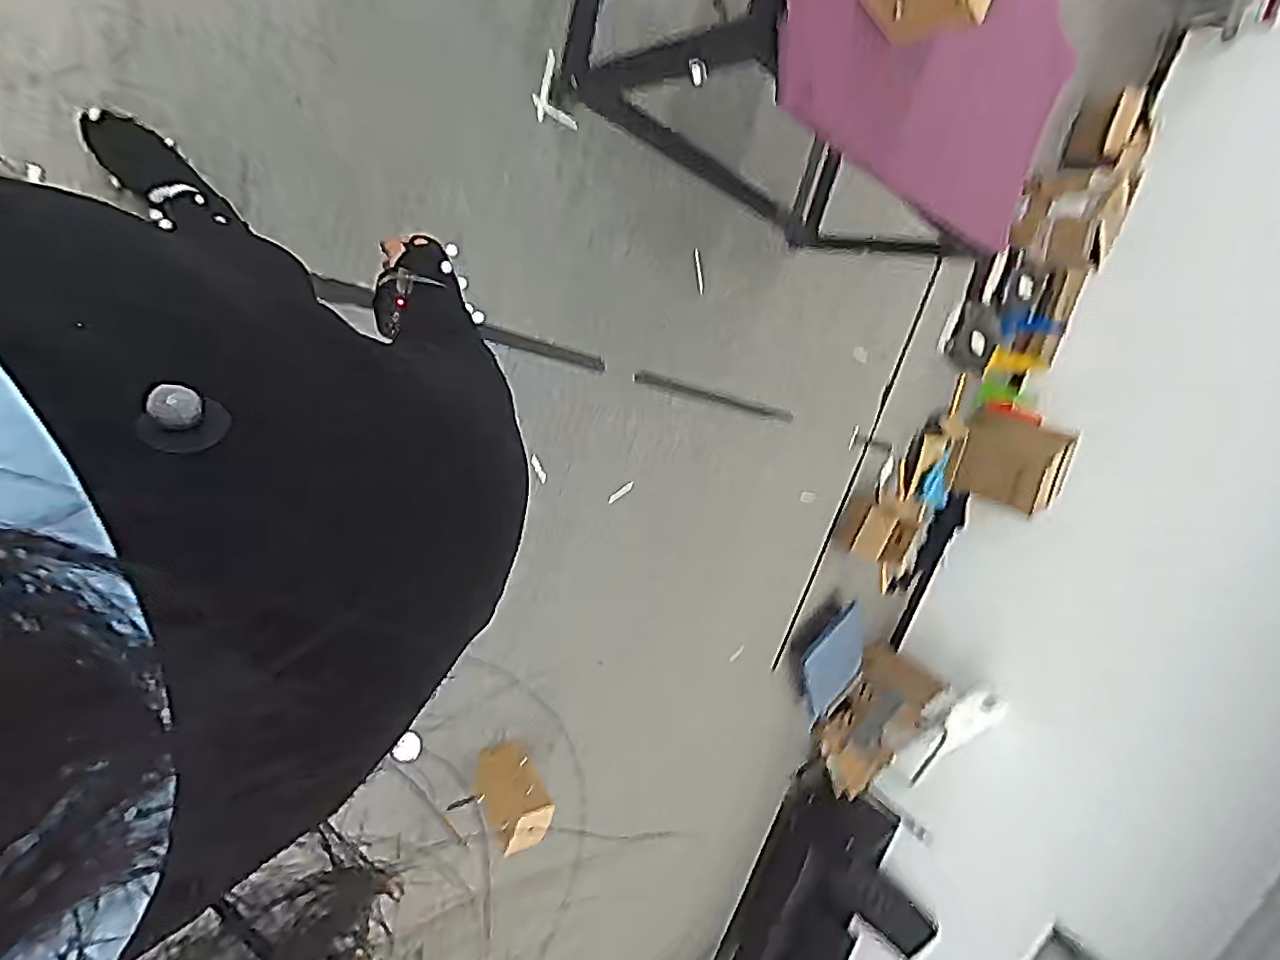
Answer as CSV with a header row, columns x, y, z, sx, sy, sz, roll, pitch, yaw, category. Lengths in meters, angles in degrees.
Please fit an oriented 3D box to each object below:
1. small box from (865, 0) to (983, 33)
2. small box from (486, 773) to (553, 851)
x,y,z,sx,sy,sz,roll,pitch,yaw,category
0.511,-0.931,0.940,0.168,0.176,0.179,1,112,-43,small box
-0.464,1.247,2.054,0.168,0.176,0.179,10,106,-44,small box
